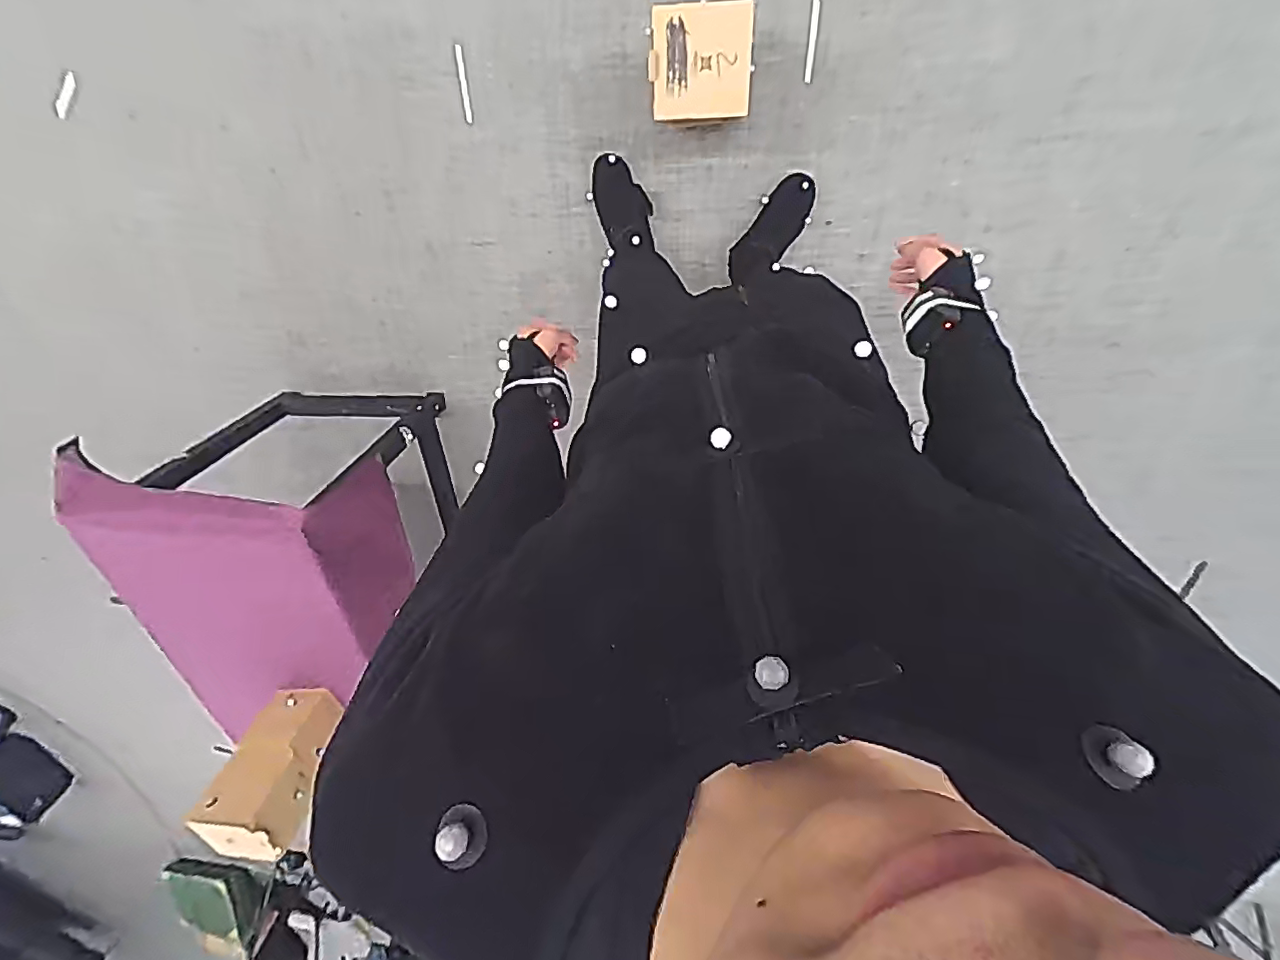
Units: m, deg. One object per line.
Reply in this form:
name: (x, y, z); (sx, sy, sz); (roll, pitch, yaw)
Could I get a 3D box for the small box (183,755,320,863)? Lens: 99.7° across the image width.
small box: (-0.933, 0.794, 1.315); (0.179, 0.176, 0.168); (-3, 123, 10)

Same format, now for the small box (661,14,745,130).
small box: (0.138, -0.862, 1.156); (0.168, 0.176, 0.179); (-1, 122, 9)

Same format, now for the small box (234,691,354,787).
small box: (-0.907, 0.686, 1.439); (0.168, 0.176, 0.179); (-7, 121, 12)
